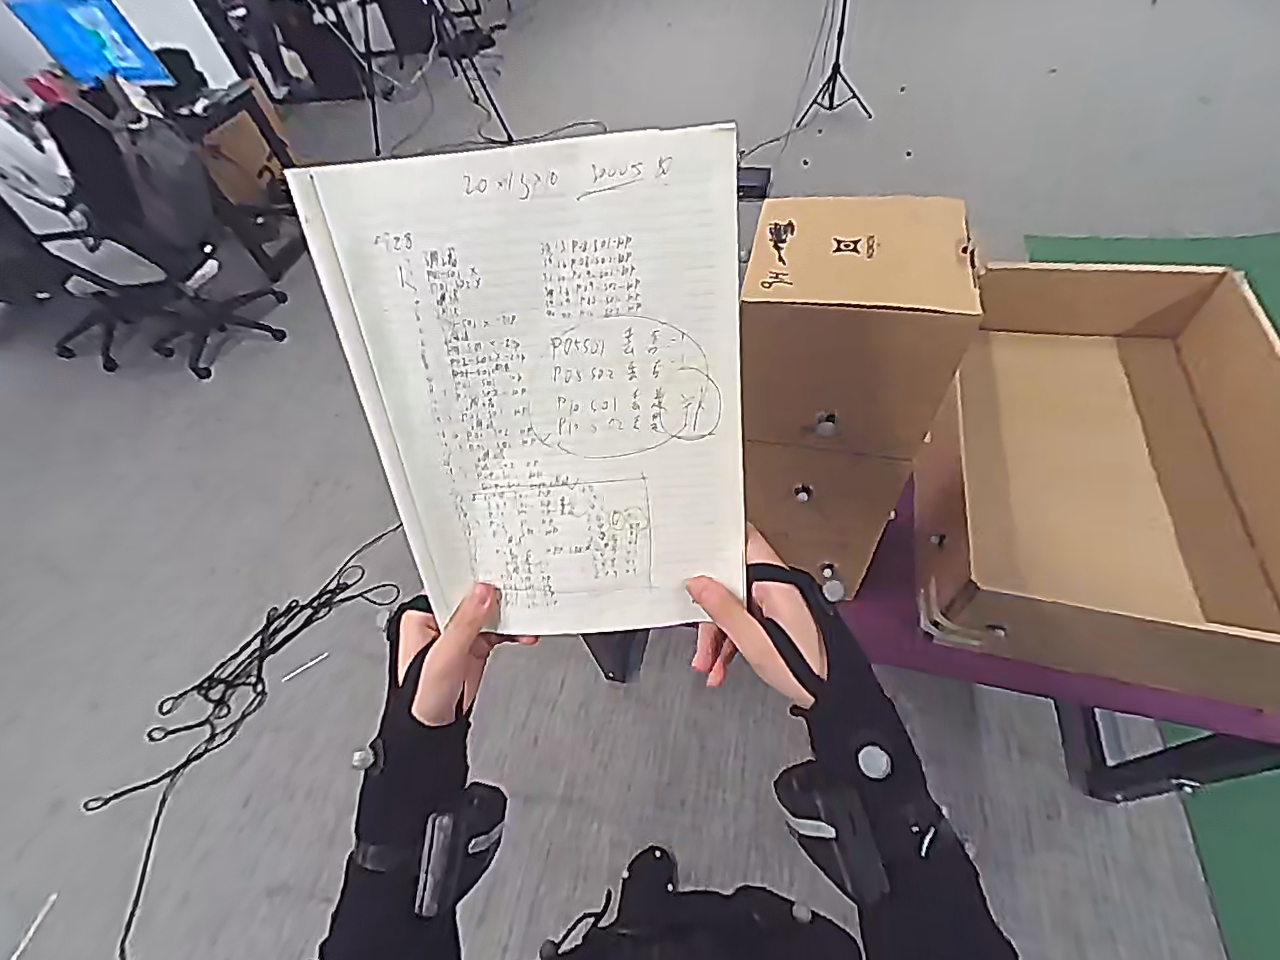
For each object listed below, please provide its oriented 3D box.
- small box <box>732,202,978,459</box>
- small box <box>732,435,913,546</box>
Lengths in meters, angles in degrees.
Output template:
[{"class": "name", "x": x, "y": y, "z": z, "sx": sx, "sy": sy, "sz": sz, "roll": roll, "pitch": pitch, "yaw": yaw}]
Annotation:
[{"class": "small box", "x": 0.190, "y": -0.139, "z": 0.517, "sx": 0.179, "sy": 0.176, "sz": 0.168, "roll": 9, "pitch": 53, "yaw": 14}, {"class": "small box", "x": 0.211, "y": -0.039, "z": 0.646, "sx": 0.179, "sy": 0.176, "sz": 0.168, "roll": 8, "pitch": 54, "yaw": 16}]
